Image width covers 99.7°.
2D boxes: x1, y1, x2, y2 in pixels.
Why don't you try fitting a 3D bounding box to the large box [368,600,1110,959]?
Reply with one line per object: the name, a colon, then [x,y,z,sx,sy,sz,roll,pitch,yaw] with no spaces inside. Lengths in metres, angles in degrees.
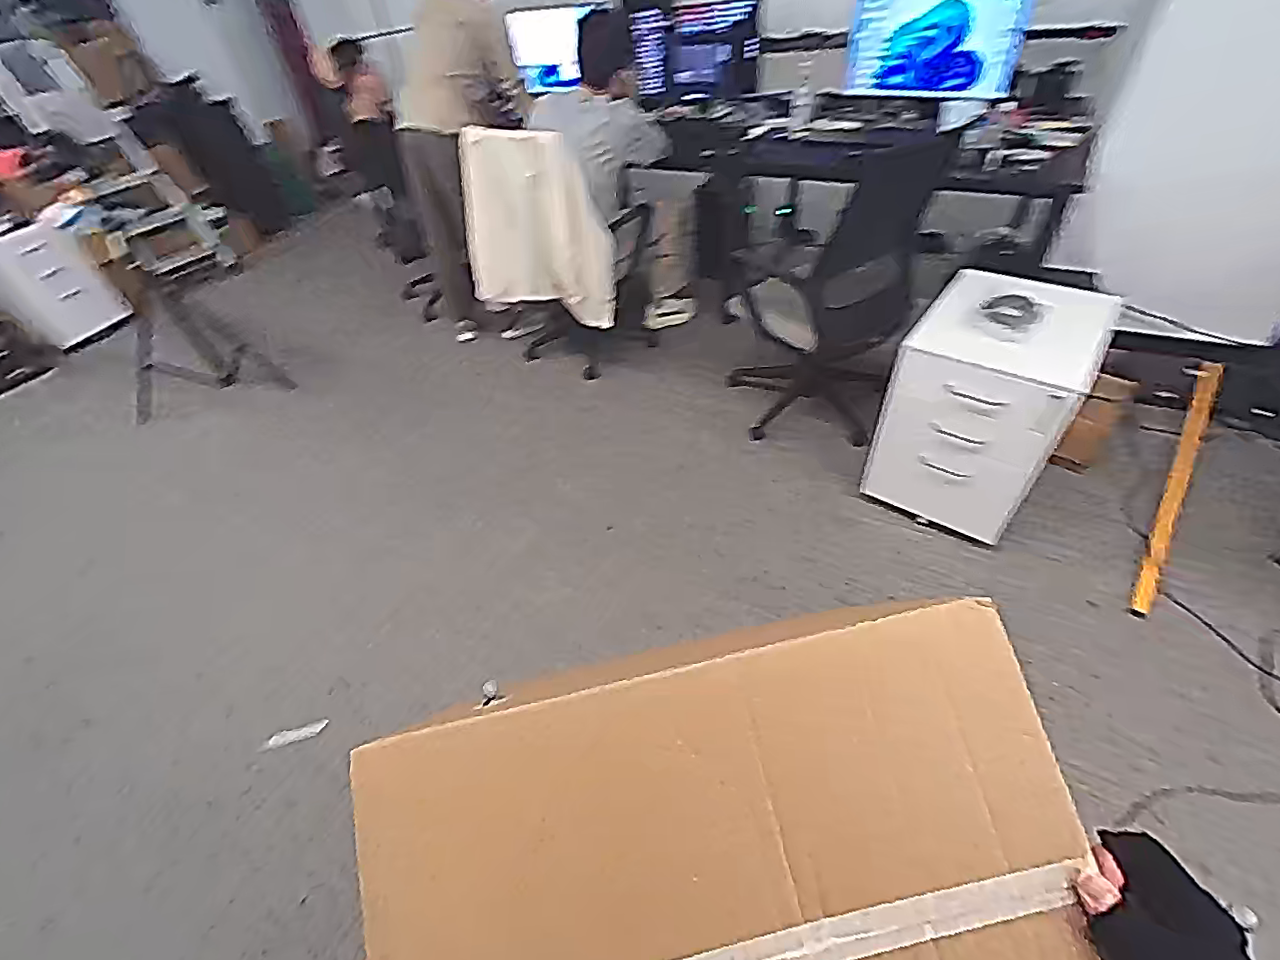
large box: [0.061,0.307,0.450,0.408,0.320,0.320,-14,76,-2]
